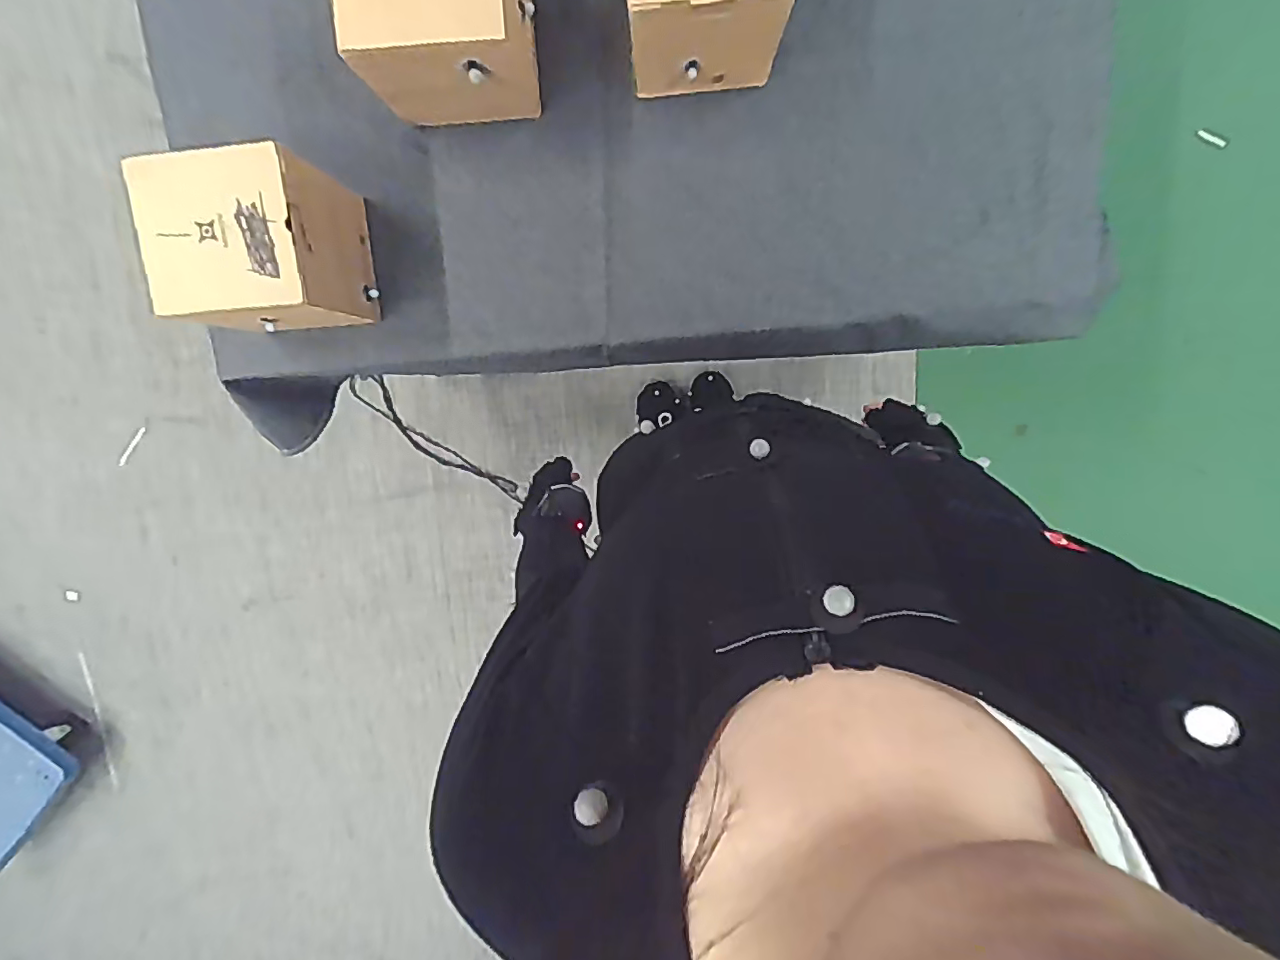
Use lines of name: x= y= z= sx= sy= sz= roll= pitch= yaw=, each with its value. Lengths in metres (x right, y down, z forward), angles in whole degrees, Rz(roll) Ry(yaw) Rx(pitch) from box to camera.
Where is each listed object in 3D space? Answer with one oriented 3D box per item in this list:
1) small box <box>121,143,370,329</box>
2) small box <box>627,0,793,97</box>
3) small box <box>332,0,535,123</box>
small box: x=-0.454 y=-0.281 z=0.658 sx=0.179 sy=0.176 sz=0.168 roll=-4 pitch=99 yaw=3
small box: x=0.067 y=-0.565 z=0.595 sx=0.168 sy=0.176 sz=0.179 roll=-4 pitch=100 yaw=2
small box: x=-0.220 y=-0.529 z=0.607 sx=0.179 sy=0.176 sz=0.168 roll=-2 pitch=100 yaw=2
